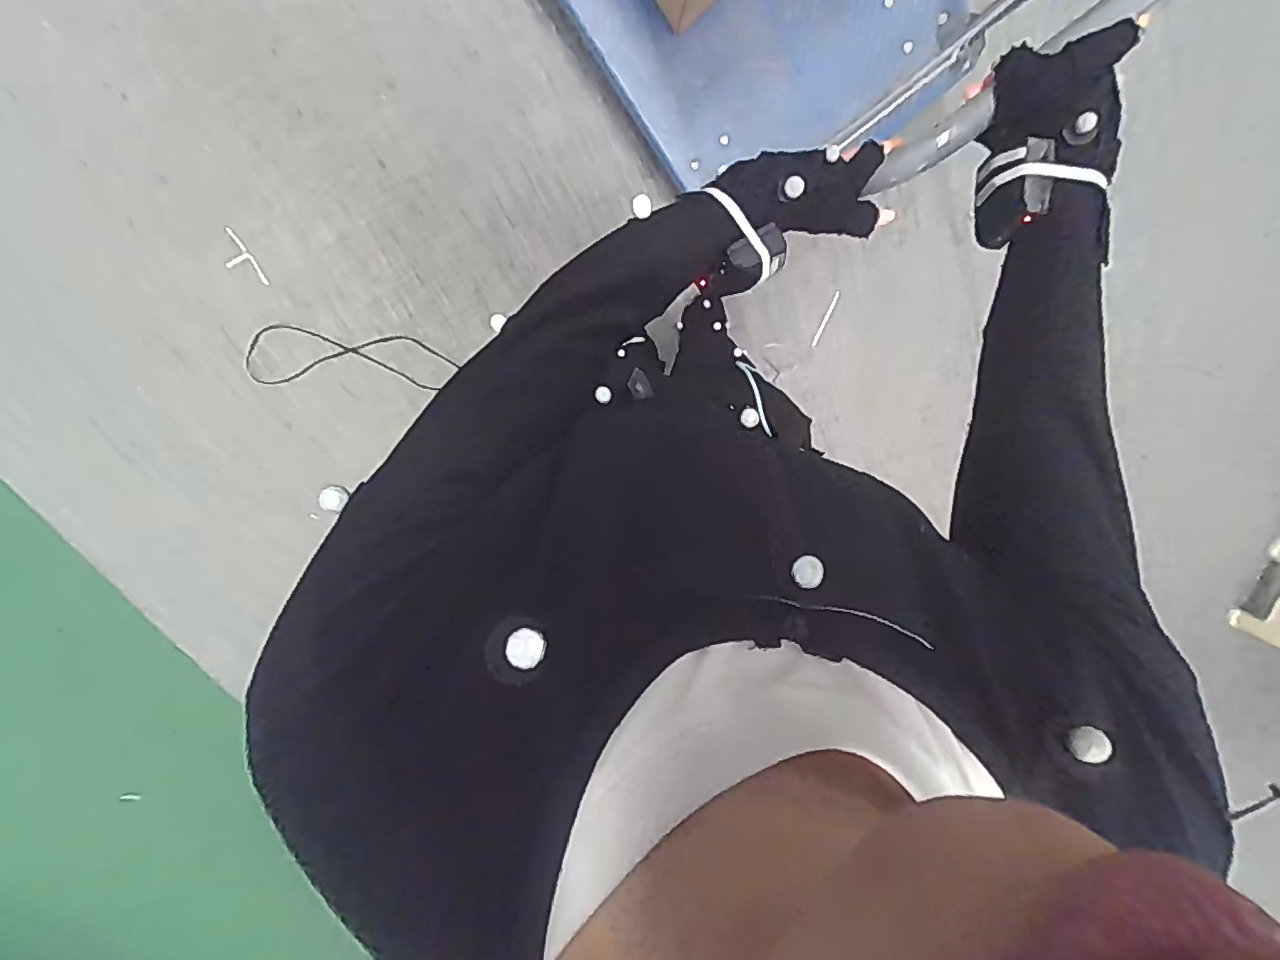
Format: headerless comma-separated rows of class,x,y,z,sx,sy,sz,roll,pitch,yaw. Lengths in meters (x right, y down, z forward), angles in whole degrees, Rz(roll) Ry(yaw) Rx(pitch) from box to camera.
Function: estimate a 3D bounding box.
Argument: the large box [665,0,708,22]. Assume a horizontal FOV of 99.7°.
large box,0.135,-0.977,0.743,0.408,0.320,0.320,-37,110,15
